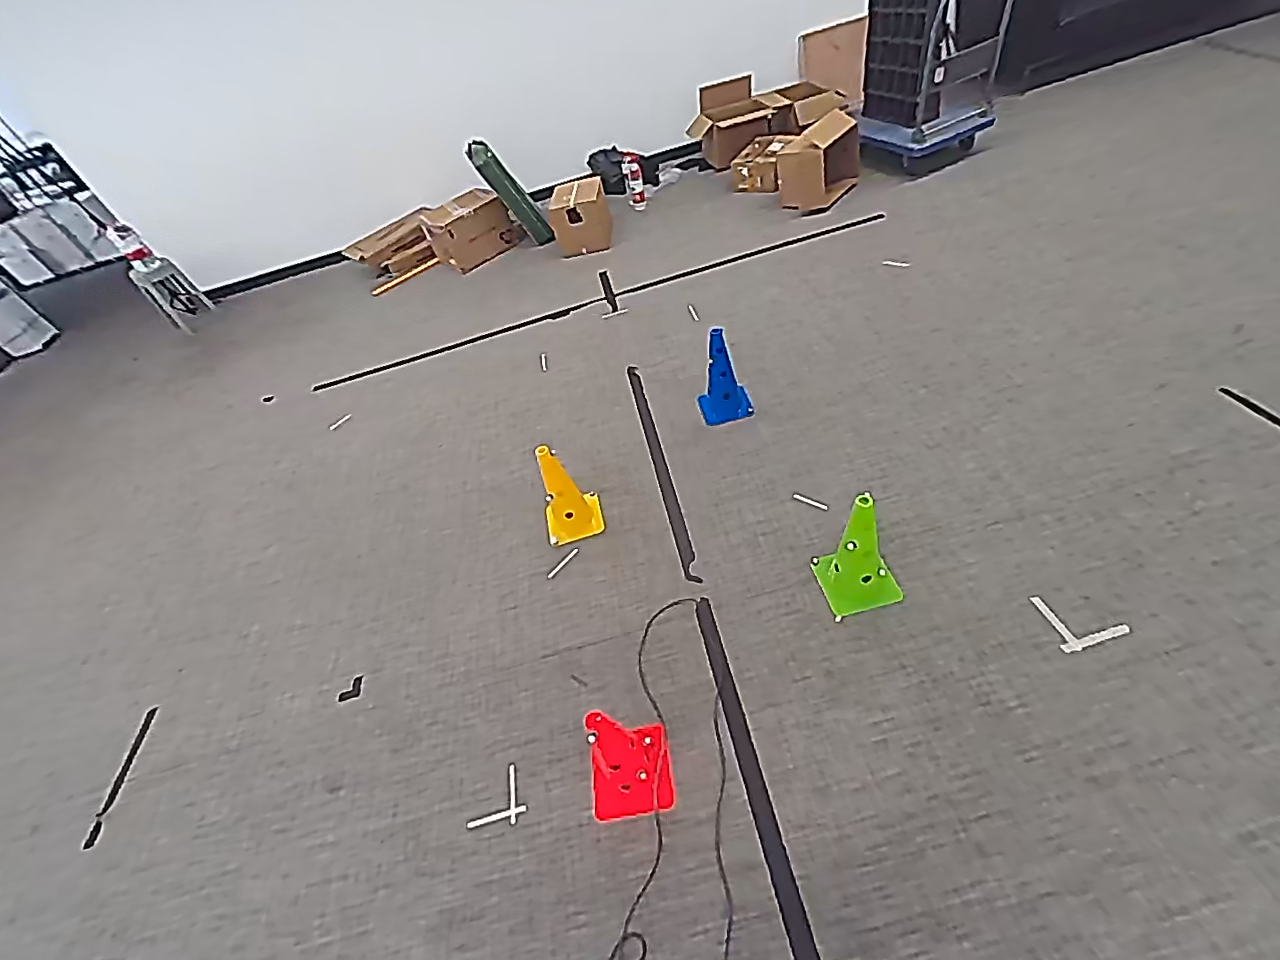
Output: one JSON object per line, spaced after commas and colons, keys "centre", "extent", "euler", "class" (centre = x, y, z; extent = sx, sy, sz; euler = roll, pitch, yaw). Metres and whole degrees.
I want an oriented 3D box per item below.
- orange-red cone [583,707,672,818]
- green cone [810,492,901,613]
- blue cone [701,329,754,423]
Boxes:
{"centre": [-0.062, 0.608, 1.234], "extent": [0.199, 0.360, 0.198], "euler": [-14, 44, 5], "class": "orange-red cone"}
{"centre": [0.589, 0.169, 1.450], "extent": [0.202, 0.368, 0.200], "euler": [-15, 45, 1], "class": "green cone"}
{"centre": [0.321, -0.417, 2.106], "extent": [0.192, 0.380, 0.193], "euler": [-13, 46, 3], "class": "blue cone"}
